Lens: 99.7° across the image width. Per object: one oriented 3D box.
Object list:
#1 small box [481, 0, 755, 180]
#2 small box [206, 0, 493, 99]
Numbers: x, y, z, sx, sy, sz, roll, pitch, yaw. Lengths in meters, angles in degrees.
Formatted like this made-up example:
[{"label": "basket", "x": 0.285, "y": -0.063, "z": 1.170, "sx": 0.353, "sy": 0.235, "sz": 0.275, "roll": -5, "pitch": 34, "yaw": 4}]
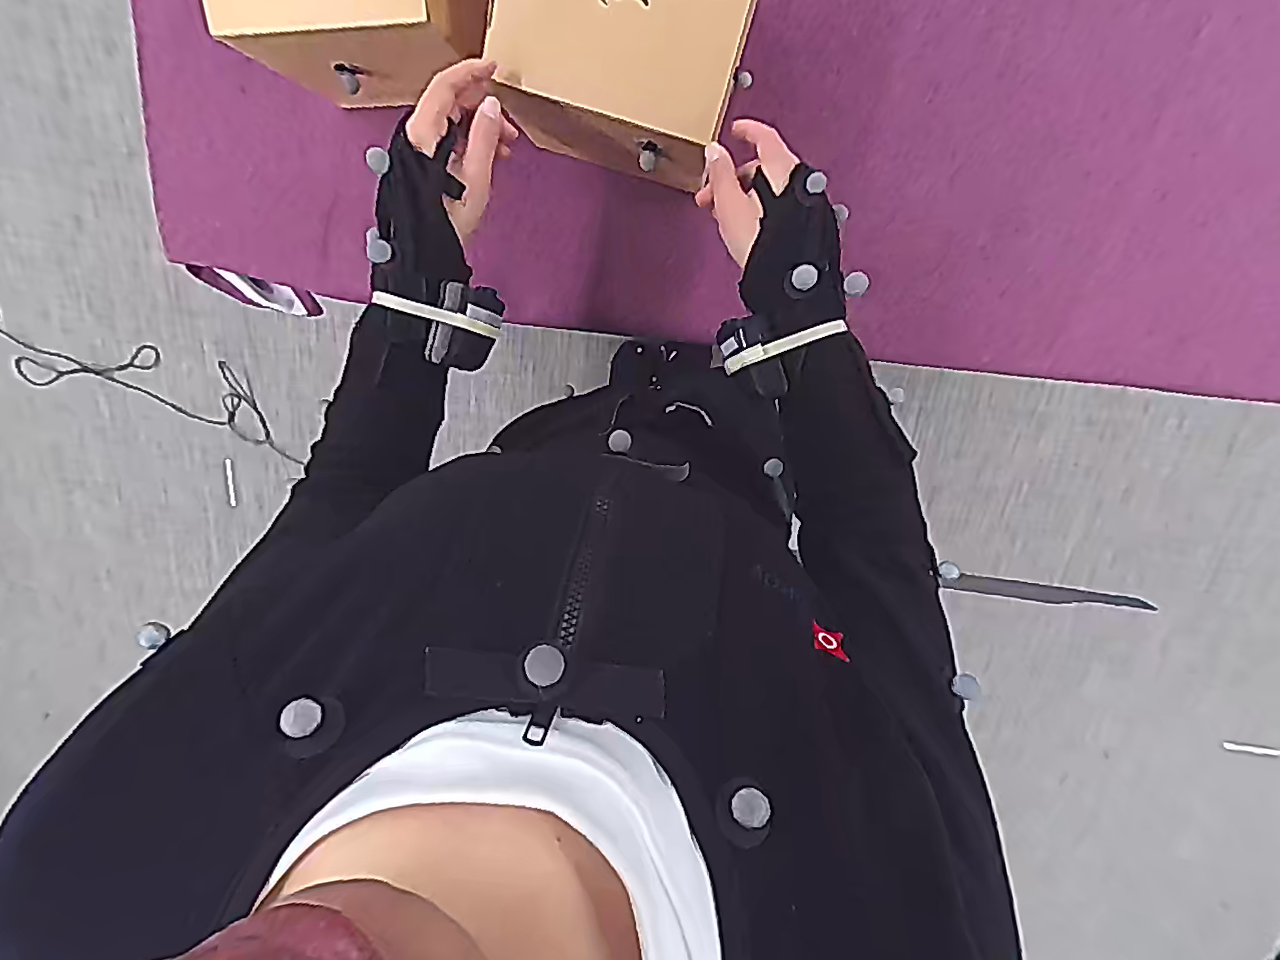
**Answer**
[{"label": "small box", "x": -0.004, "y": -0.366, "z": 0.440, "sx": 0.179, "sy": 0.176, "sz": 0.168, "roll": 16, "pitch": 107, "yaw": -1}, {"label": "small box", "x": -0.227, "y": -0.434, "z": 0.436, "sx": 0.168, "sy": 0.176, "sz": 0.179, "roll": -1, "pitch": 108, "yaw": 5}]
